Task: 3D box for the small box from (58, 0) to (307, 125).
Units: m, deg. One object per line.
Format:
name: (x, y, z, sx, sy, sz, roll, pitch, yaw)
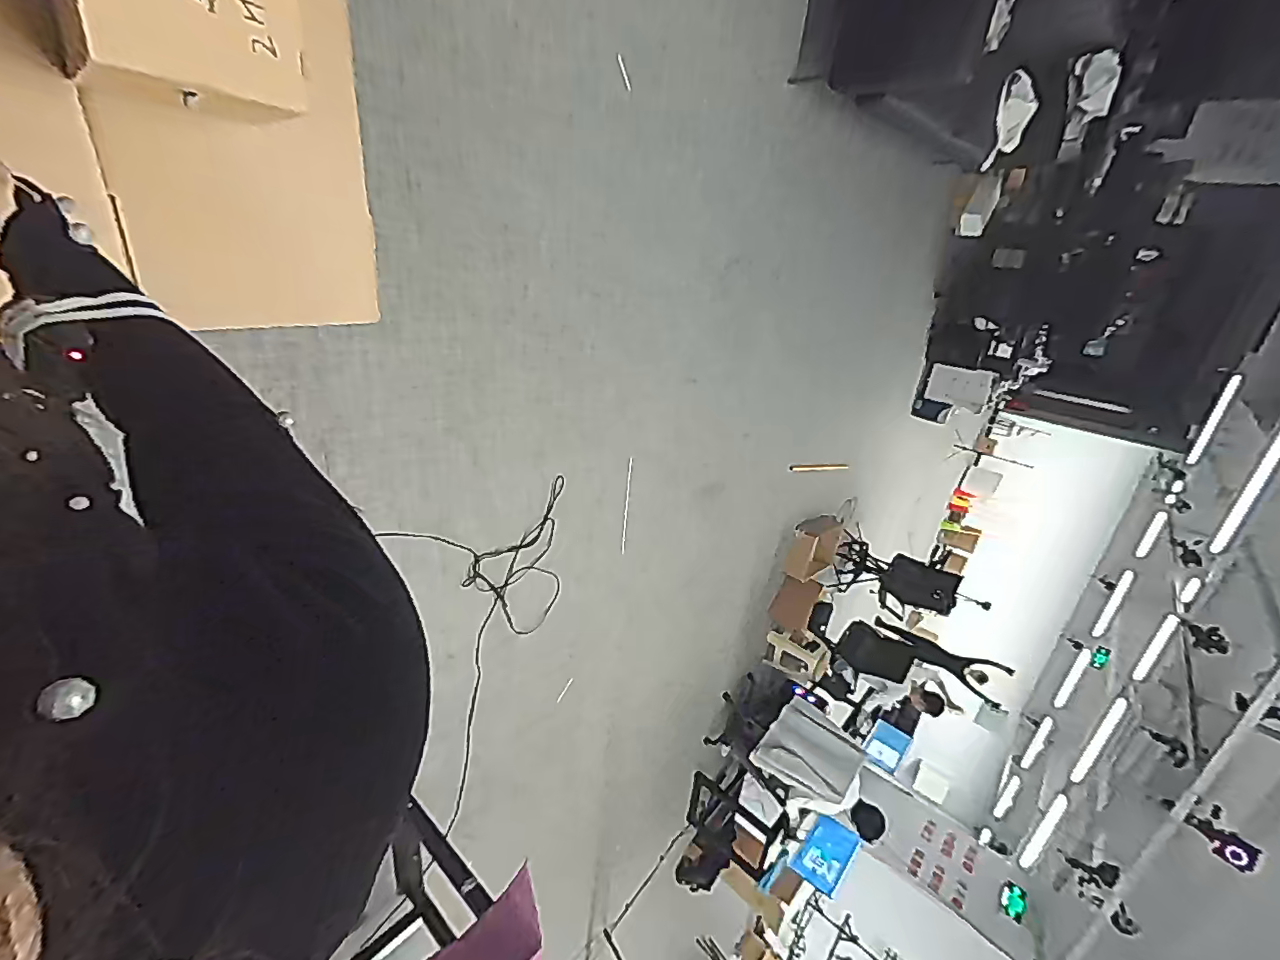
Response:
small box: (-0.472, -0.480, 0.553, 0.179, 0.176, 0.168, -16, 122, -45)
